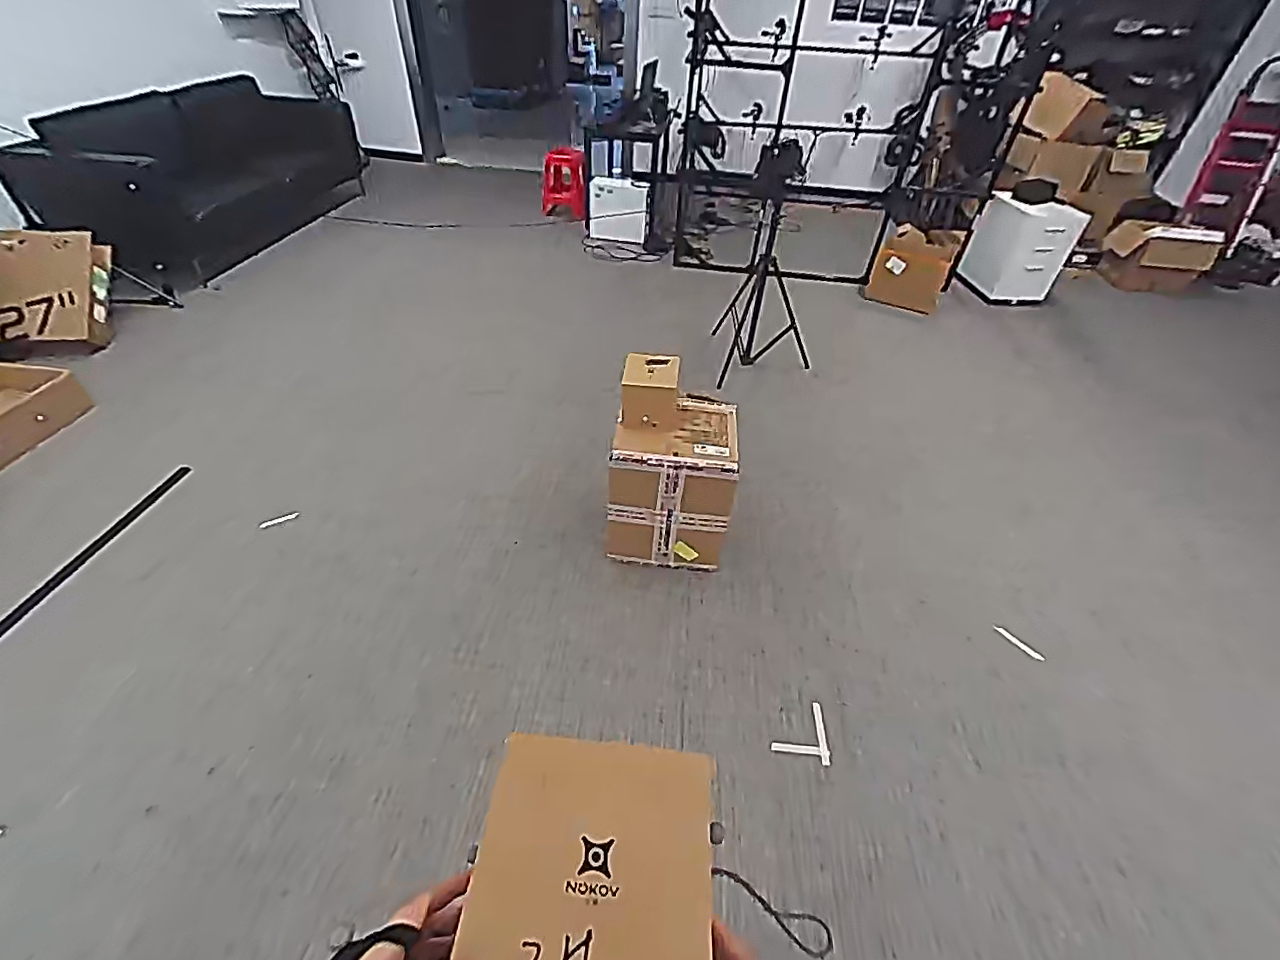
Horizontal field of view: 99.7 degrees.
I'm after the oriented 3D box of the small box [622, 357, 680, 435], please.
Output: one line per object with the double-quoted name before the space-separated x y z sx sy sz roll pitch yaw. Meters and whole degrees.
"small box" 0.034 -0.267 1.713 0.168 0.176 0.179 4 45 4
